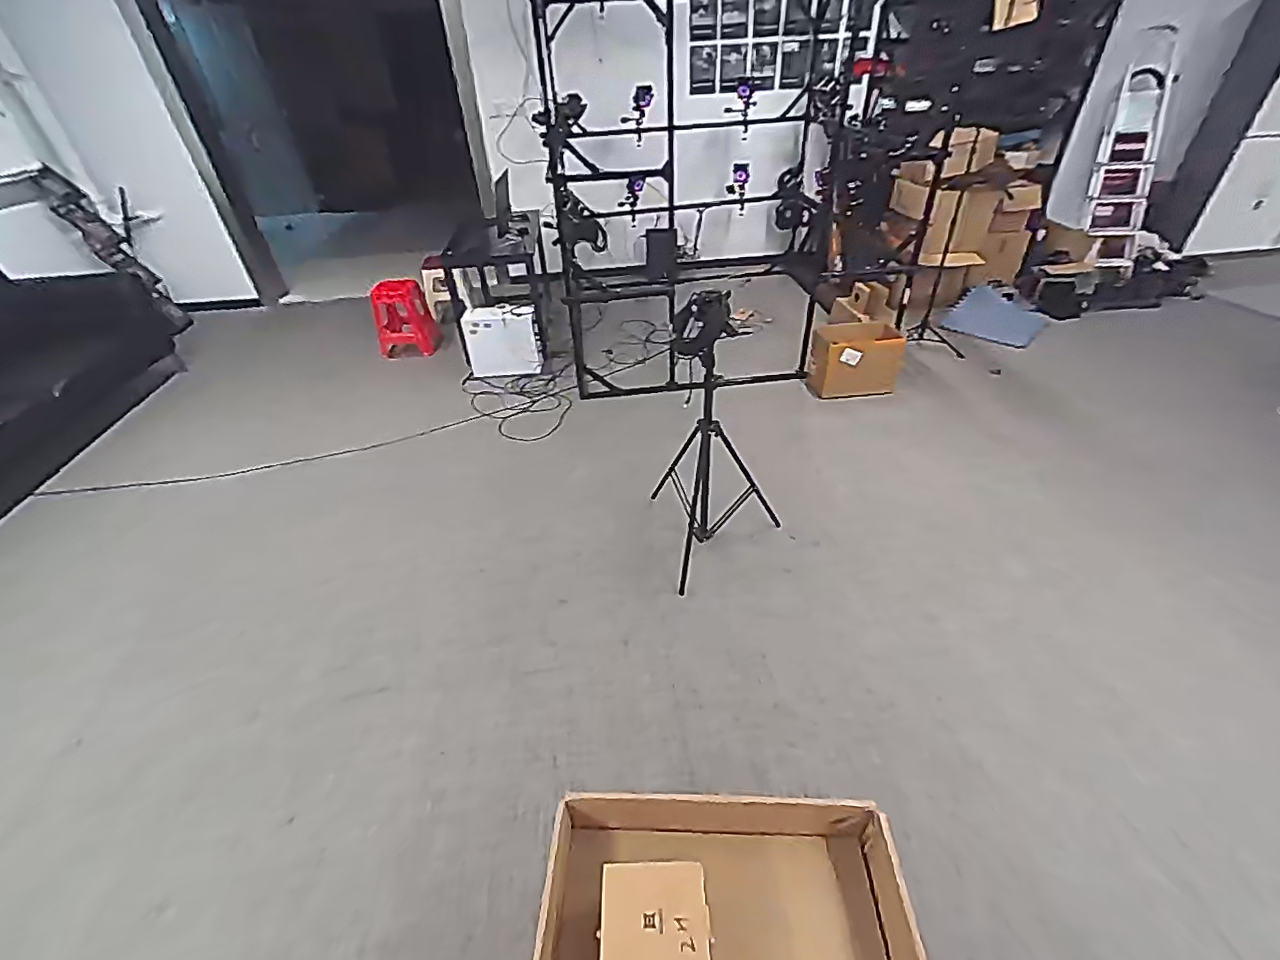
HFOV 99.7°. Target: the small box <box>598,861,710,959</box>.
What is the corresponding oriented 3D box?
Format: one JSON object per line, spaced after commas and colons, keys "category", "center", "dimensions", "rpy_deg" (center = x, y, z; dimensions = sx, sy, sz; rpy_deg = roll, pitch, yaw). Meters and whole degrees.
{"category": "small box", "center": [0.025, 0.773, 0.918], "dimensions": [0.179, 0.176, 0.168], "rpy_deg": [-1, 38, 1]}
